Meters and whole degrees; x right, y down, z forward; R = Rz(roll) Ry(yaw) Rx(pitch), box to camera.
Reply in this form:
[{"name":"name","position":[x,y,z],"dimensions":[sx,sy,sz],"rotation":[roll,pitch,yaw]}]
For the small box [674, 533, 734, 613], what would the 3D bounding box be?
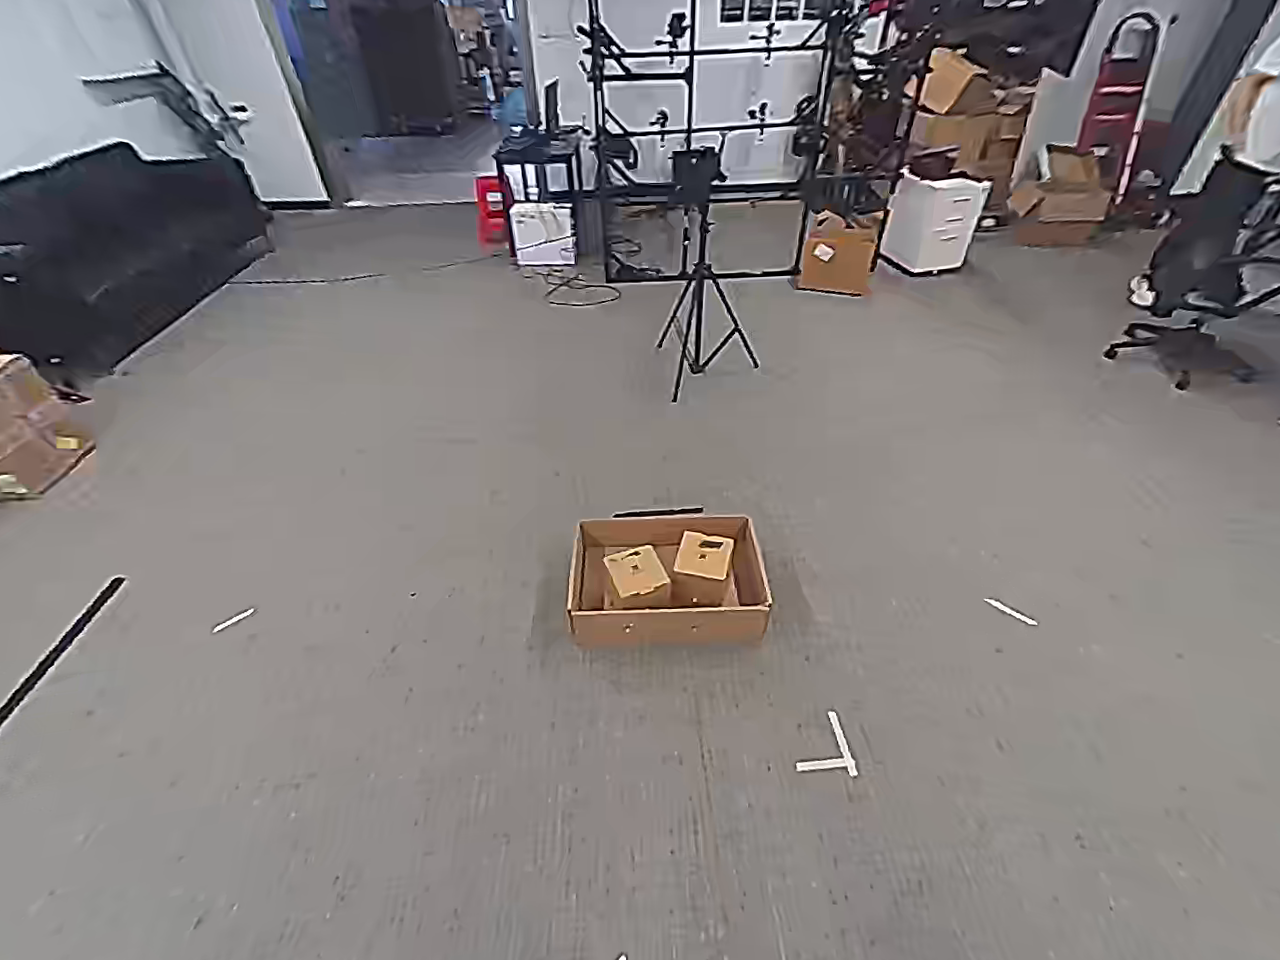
[{"name":"small box","position":[0.208,0.304,1.775],"dimensions":[0.168,0.176,0.179],"rotation":[9,43,14]}]
